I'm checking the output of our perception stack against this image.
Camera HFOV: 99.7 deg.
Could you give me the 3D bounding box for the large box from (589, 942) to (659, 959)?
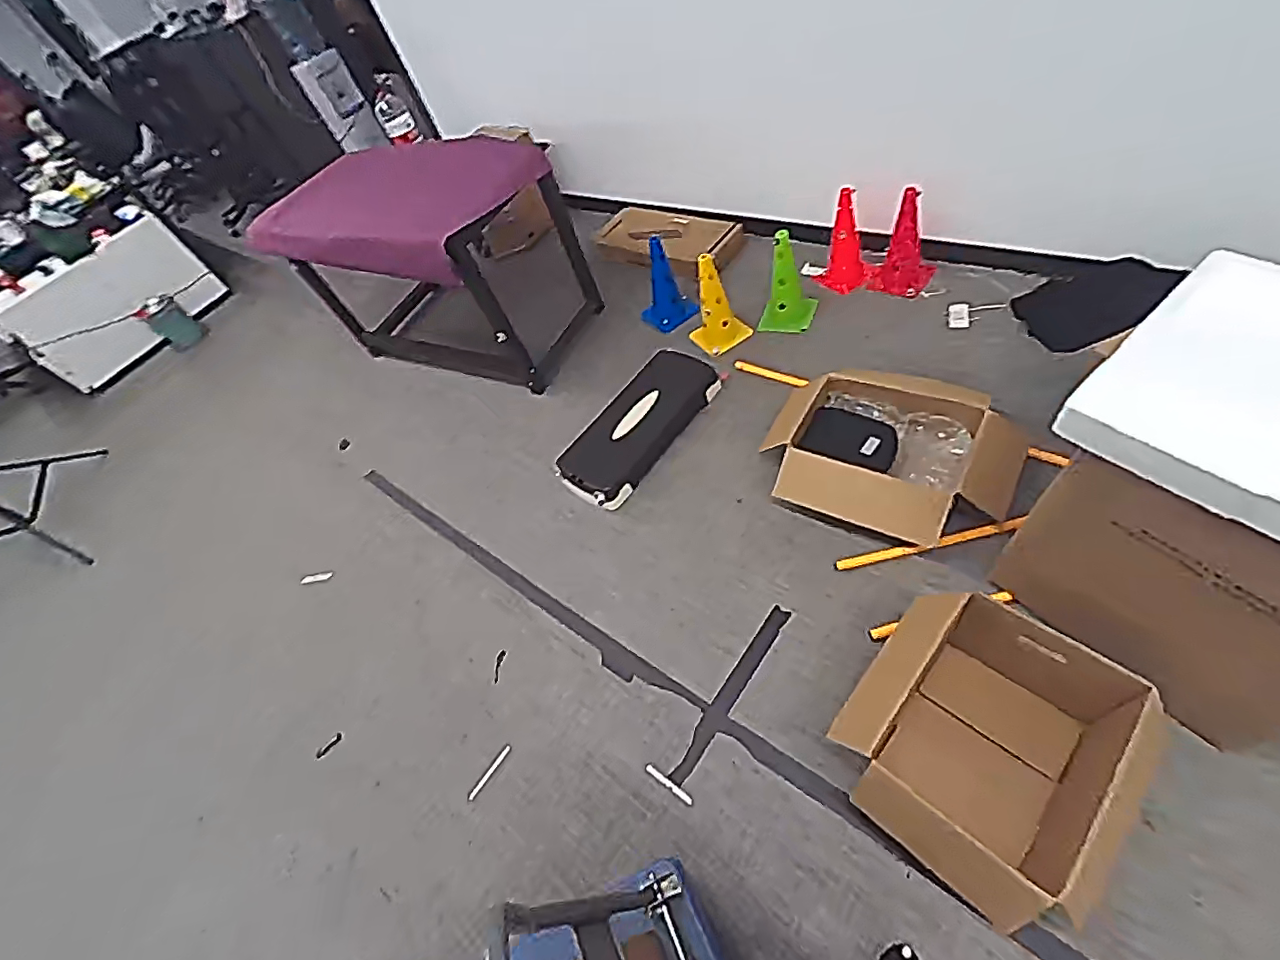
[{"bbox_3d":[-0.072,0.988,0.774,0.320,0.320,0.408,-29,50,-2],"label":"large box"}]
